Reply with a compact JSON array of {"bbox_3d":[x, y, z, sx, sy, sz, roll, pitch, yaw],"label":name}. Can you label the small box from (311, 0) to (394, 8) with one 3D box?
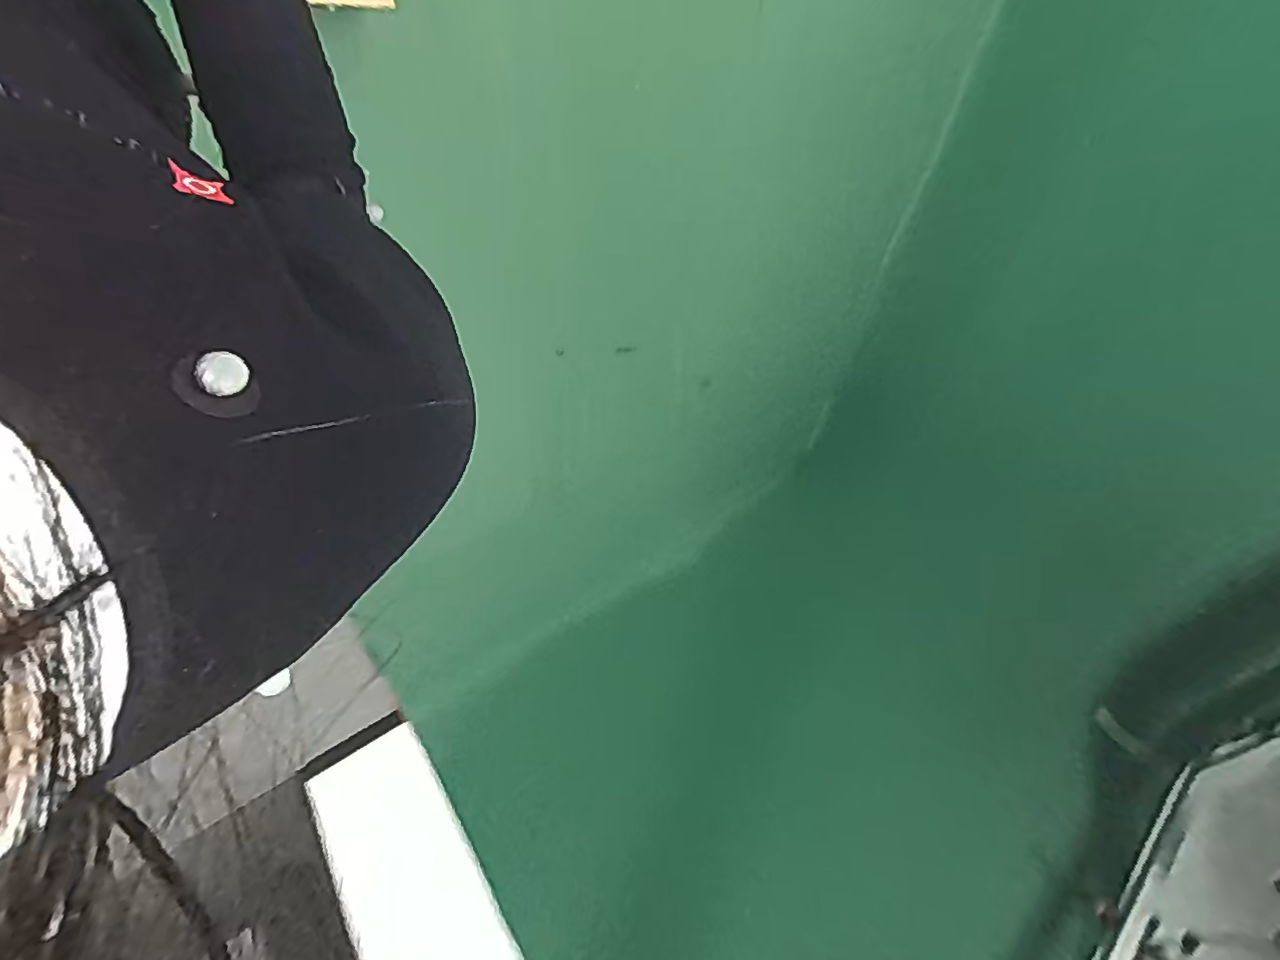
[{"bbox_3d":[-0.551,-0.929,0.922,0.179,0.176,0.168,-25,143,-30],"label":"small box"}]
